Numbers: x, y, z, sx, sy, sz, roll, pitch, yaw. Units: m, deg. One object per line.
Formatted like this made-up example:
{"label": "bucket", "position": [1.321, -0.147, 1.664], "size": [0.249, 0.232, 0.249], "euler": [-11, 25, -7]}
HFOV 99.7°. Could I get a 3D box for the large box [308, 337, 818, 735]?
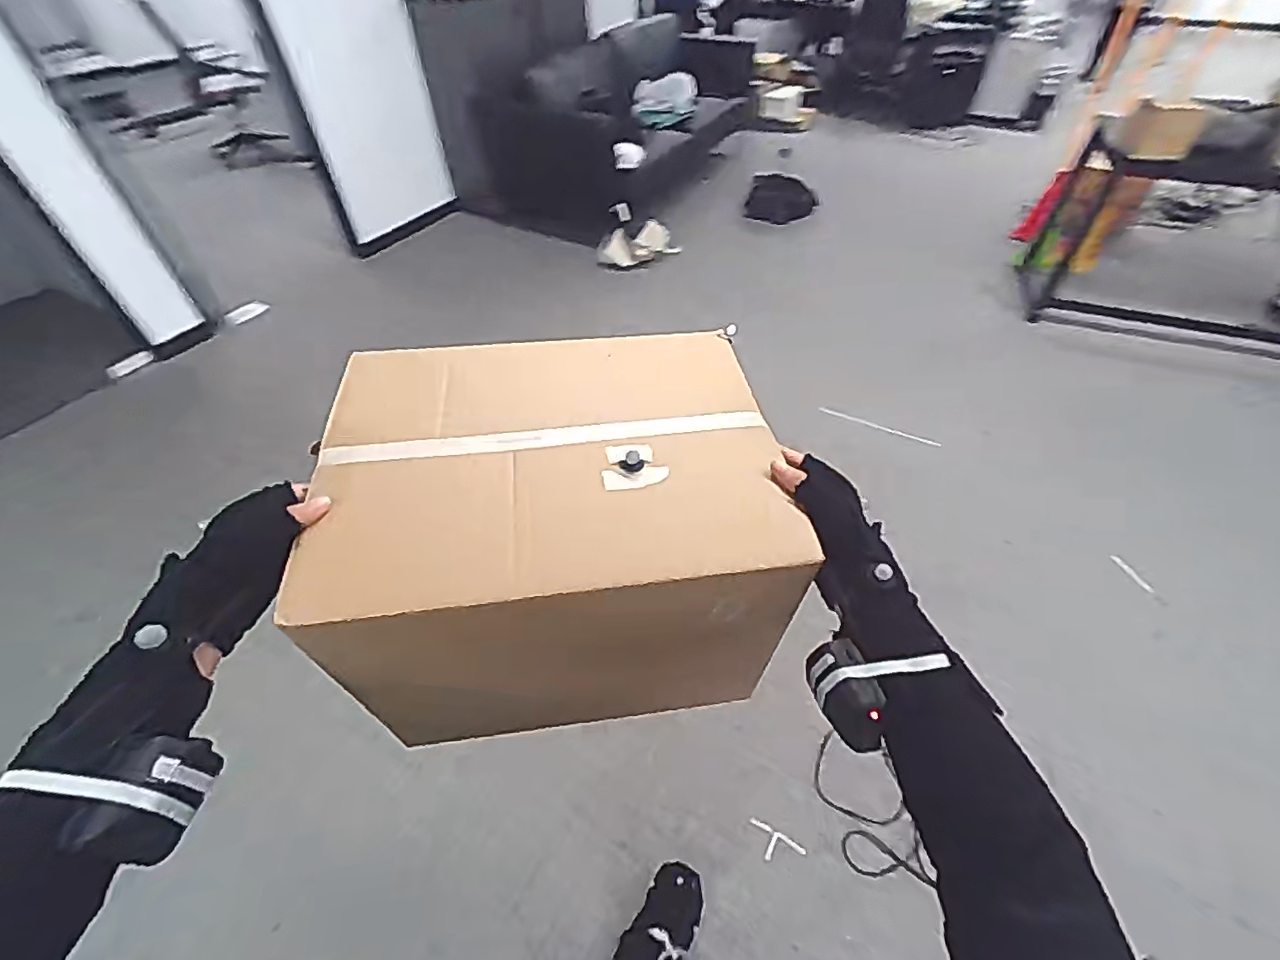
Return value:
{"label": "large box", "position": [-0.077, 0.062, 0.622], "size": [0.408, 0.320, 0.320], "euler": [-5, 50, -7]}
